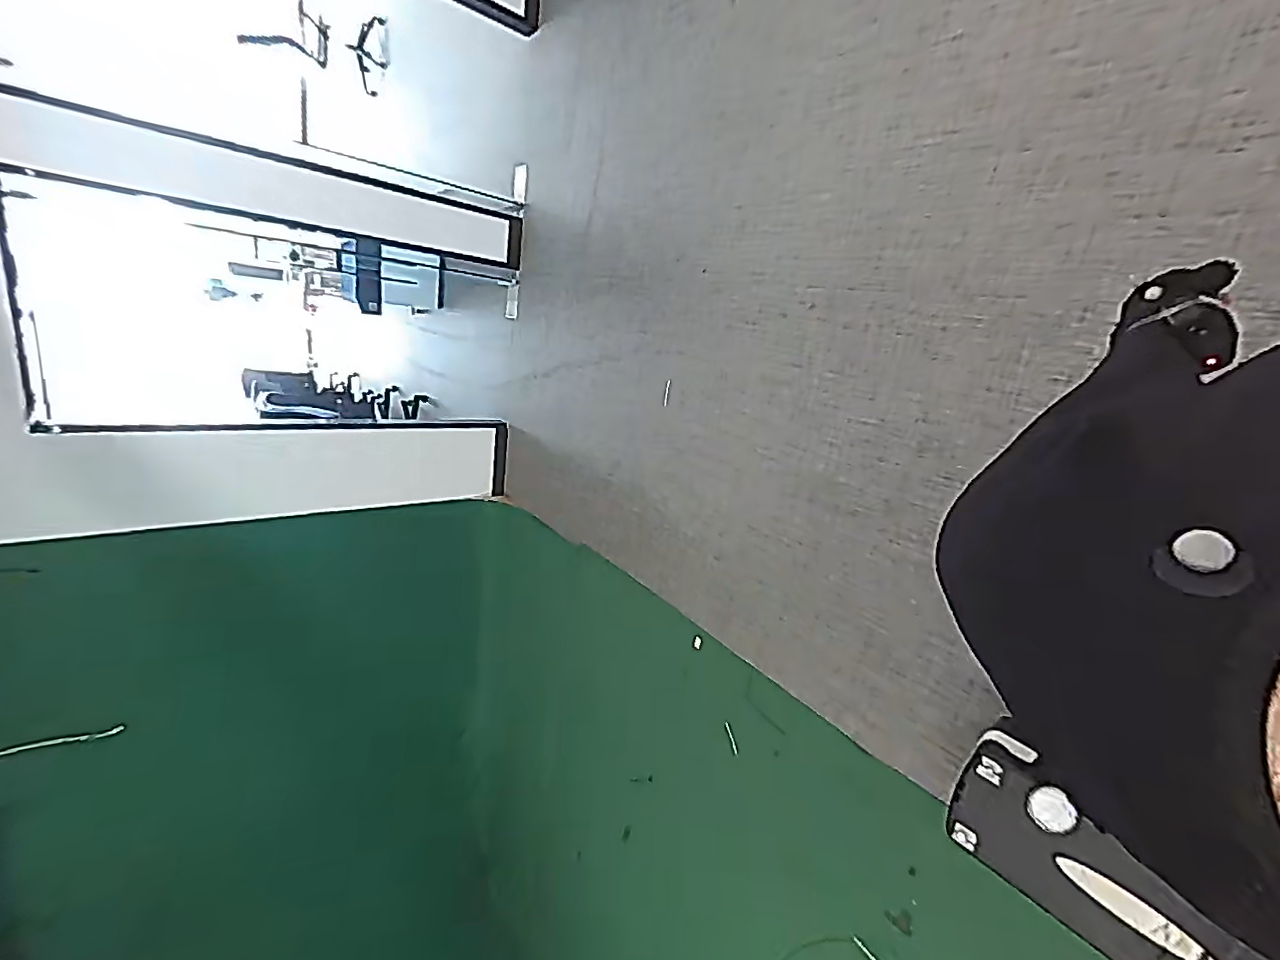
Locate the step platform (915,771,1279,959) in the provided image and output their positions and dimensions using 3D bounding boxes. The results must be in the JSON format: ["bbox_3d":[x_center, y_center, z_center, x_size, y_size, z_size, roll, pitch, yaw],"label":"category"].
[{"bbox_3d":[0.886,0.863,0.959,0.684,0.204,0.286,25,113,46],"label":"step platform"}]
